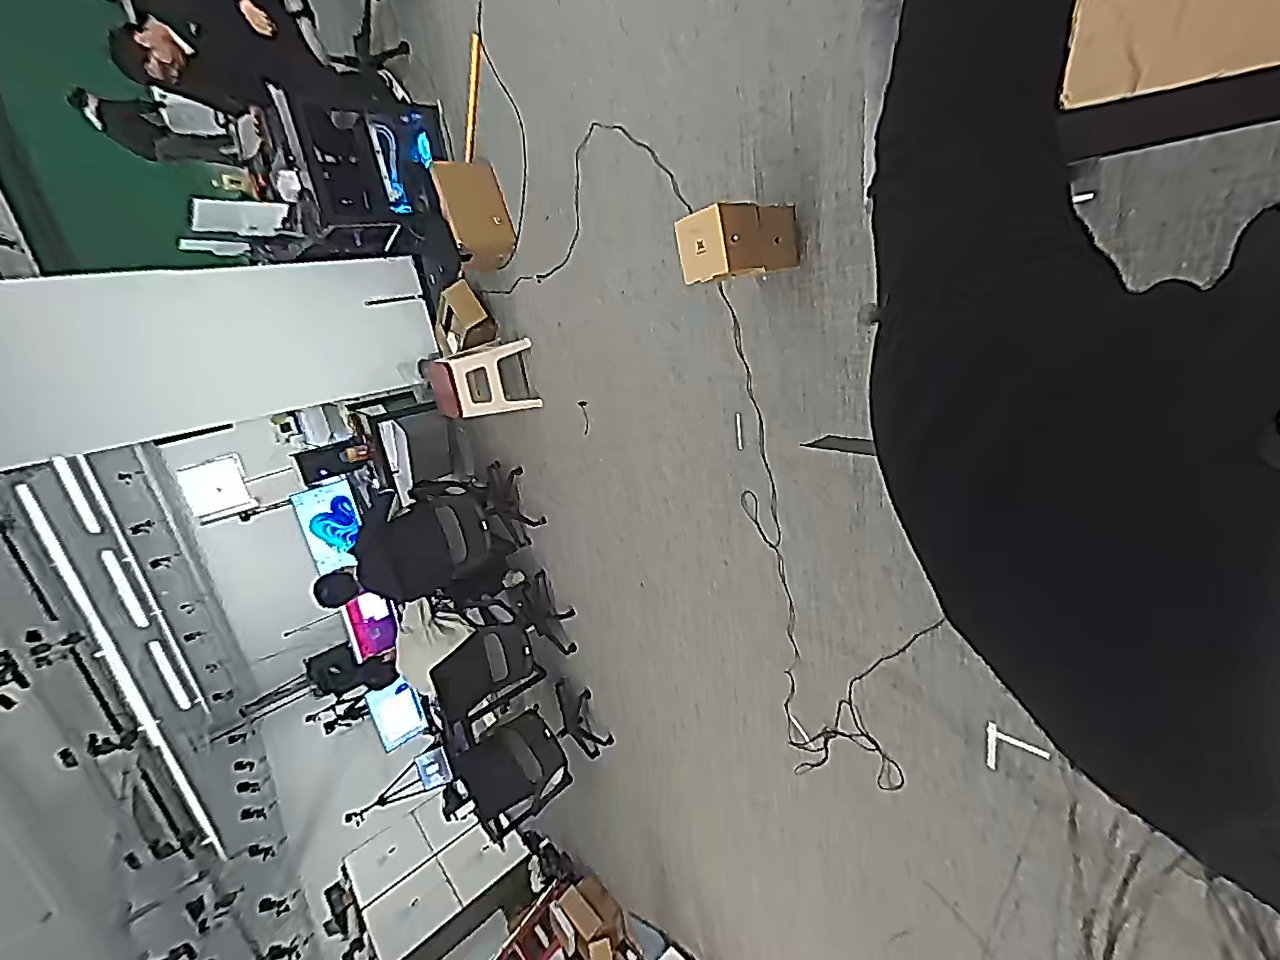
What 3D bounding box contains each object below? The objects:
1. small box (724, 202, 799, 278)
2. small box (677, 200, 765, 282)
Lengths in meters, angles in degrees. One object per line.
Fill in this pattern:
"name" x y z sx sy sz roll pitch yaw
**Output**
"small box" 0.354 -0.715 1.614 0.168 0.176 0.179 9 116 50
"small box" 0.231 -0.670 1.517 0.168 0.176 0.179 5 112 50
